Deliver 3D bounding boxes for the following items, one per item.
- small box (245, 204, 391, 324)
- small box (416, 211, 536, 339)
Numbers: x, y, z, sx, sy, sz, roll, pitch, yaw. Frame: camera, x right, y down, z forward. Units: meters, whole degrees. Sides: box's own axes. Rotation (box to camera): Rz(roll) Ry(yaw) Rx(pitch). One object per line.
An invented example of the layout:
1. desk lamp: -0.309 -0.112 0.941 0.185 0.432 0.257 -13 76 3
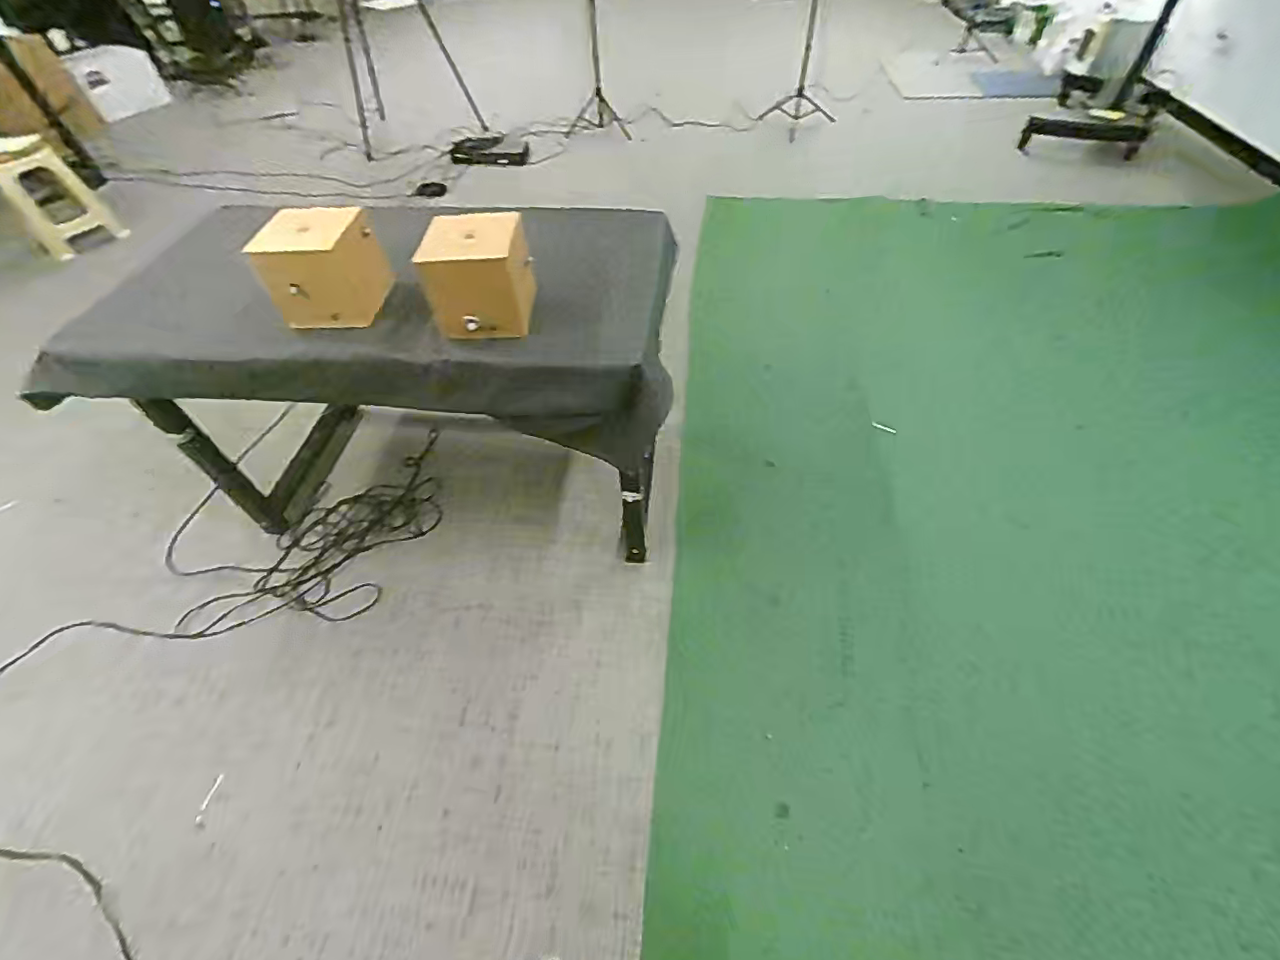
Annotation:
1. small box: -0.623 -0.425 1.076 0.168 0.176 0.179 -1 50 1
2. small box: -0.301 -0.392 1.039 0.168 0.176 0.179 -3 51 1
